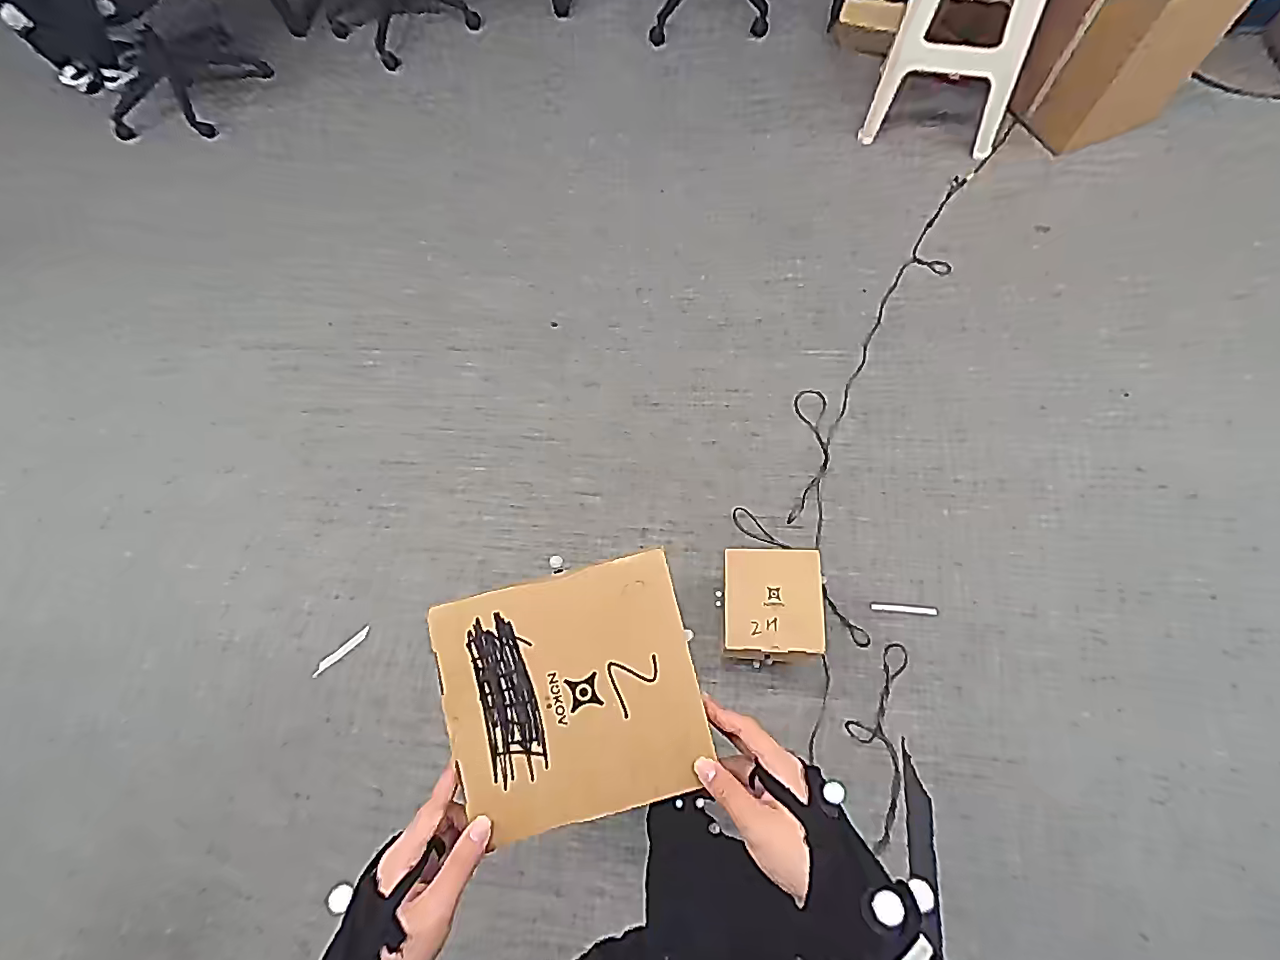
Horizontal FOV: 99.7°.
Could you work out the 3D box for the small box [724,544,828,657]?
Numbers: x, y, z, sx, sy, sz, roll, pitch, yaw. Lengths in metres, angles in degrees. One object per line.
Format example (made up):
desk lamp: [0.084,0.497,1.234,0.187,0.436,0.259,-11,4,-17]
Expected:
small box: [0.241,0.226,0.996,0.168,0.176,0.179,0,69,8]

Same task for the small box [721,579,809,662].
small box: [0.260,0.285,1.149,0.168,0.176,0.179,2,70,8]
